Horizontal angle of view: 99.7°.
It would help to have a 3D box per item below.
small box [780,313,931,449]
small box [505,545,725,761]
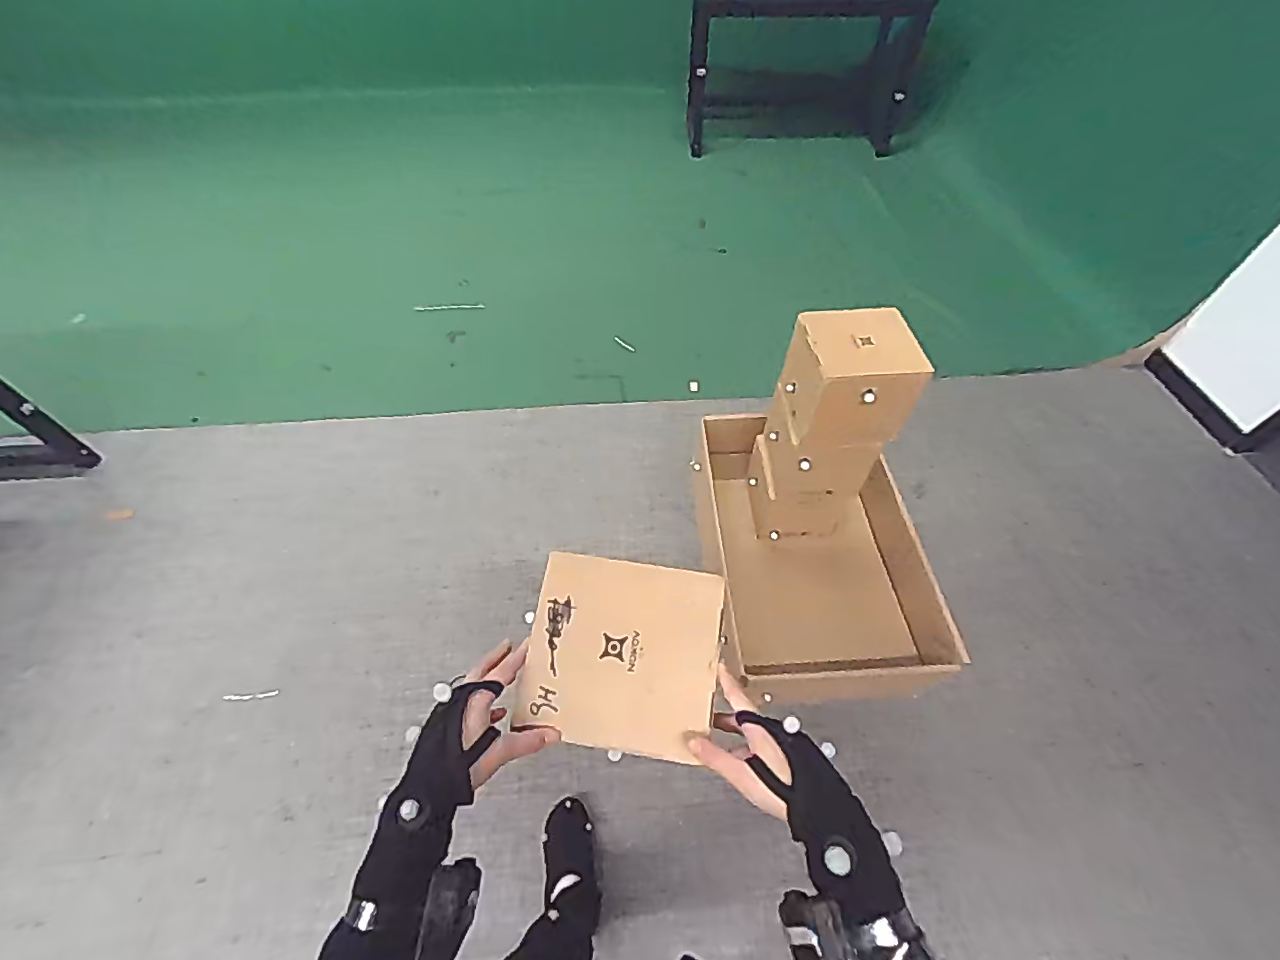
[{"bbox_3d":[0.363,-0.169,0.948,0.179,0.176,0.168,-4,53,-2],"label":"small box"},{"bbox_3d":[-0.017,0.182,0.563,0.179,0.176,0.168,9,65,5],"label":"small box"}]
